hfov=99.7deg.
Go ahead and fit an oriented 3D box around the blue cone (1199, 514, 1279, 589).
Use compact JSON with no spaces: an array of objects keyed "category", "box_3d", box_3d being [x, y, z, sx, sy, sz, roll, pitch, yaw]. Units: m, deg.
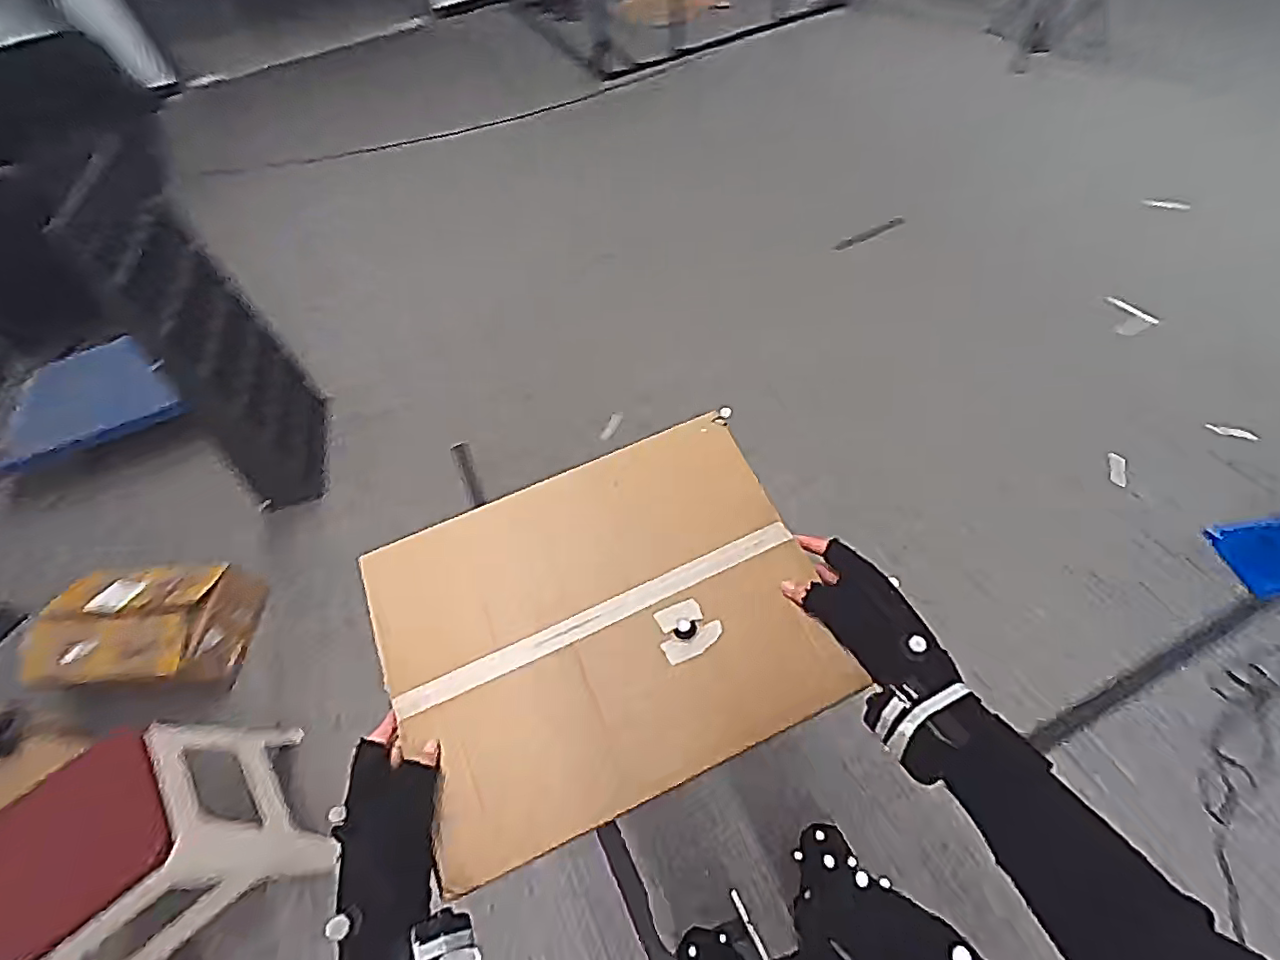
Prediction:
[{"category":"blue cone","box_3d":[1.626,0.099,1.309,0.192,0.380,0.193,-9,54,2]}]
